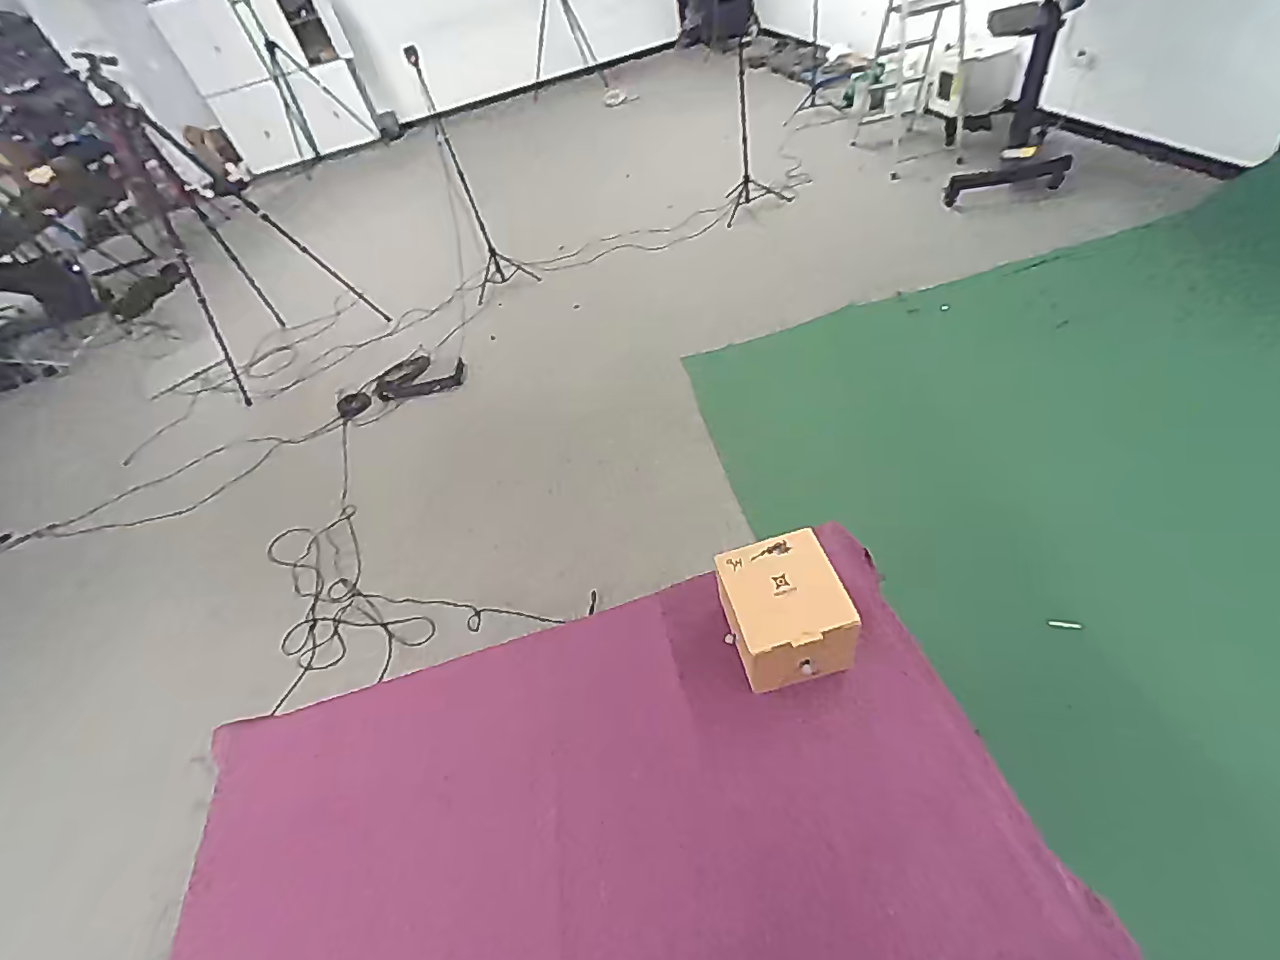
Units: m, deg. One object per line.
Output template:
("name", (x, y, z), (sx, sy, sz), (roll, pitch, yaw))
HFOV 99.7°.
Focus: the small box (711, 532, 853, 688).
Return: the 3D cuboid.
("small box", (0.224, 0.218, 0.876), (0.168, 0.176, 0.179), (-16, 49, 0))
